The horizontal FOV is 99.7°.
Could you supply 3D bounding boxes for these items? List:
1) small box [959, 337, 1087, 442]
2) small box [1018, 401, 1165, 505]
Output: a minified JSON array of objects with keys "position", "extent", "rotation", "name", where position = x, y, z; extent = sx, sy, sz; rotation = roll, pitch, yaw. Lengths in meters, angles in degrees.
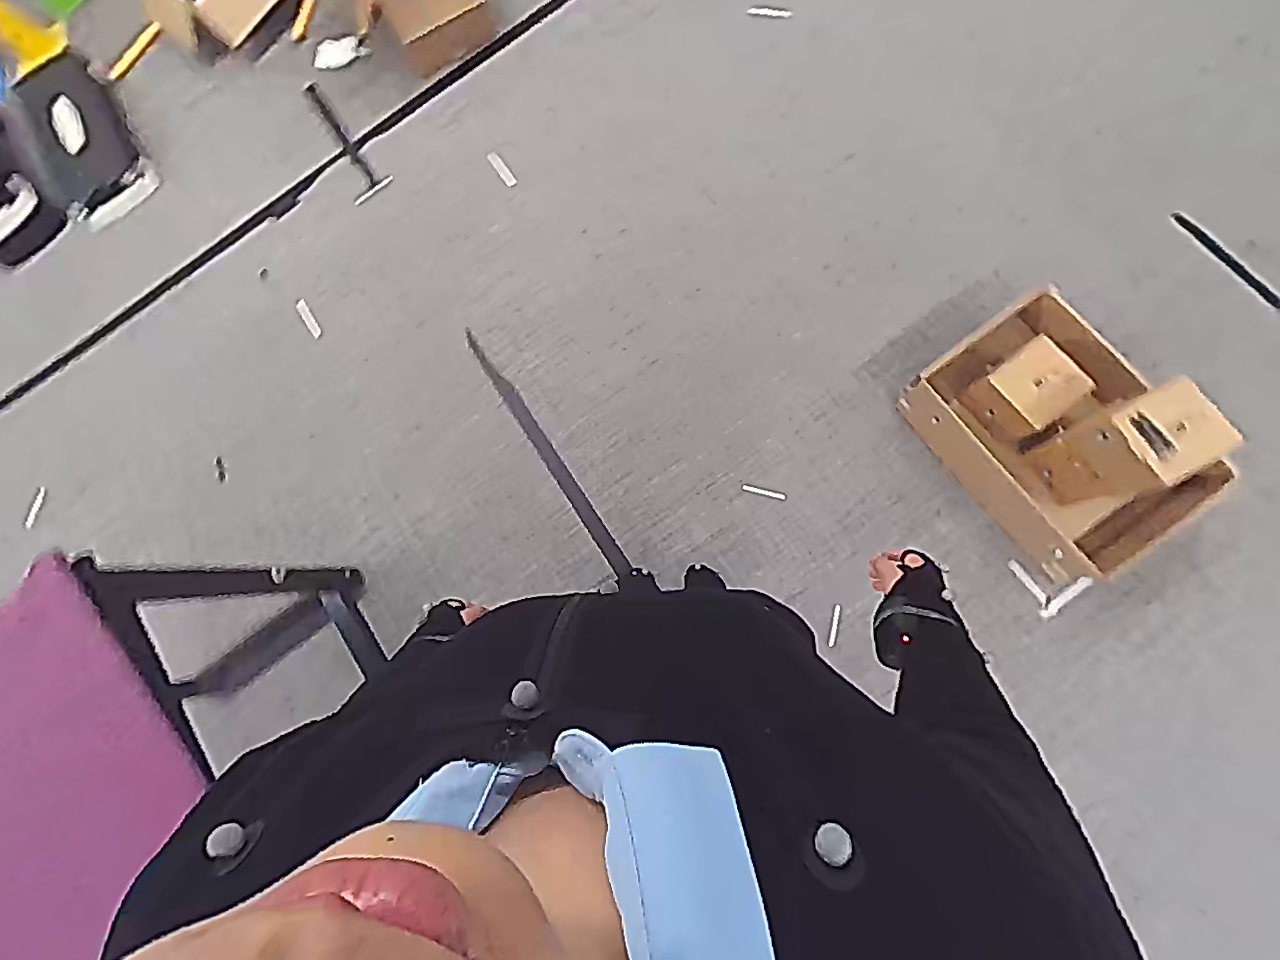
[{"position":[0.939,-0.217,1.352],"extent":[0.179,0.176,0.168],"rotation":[-38,80,-1],"name":"small box"},{"position":[1.081,-0.058,1.313],"extent":[0.179,0.176,0.168],"rotation":[-32,76,1],"name":"small box"}]
